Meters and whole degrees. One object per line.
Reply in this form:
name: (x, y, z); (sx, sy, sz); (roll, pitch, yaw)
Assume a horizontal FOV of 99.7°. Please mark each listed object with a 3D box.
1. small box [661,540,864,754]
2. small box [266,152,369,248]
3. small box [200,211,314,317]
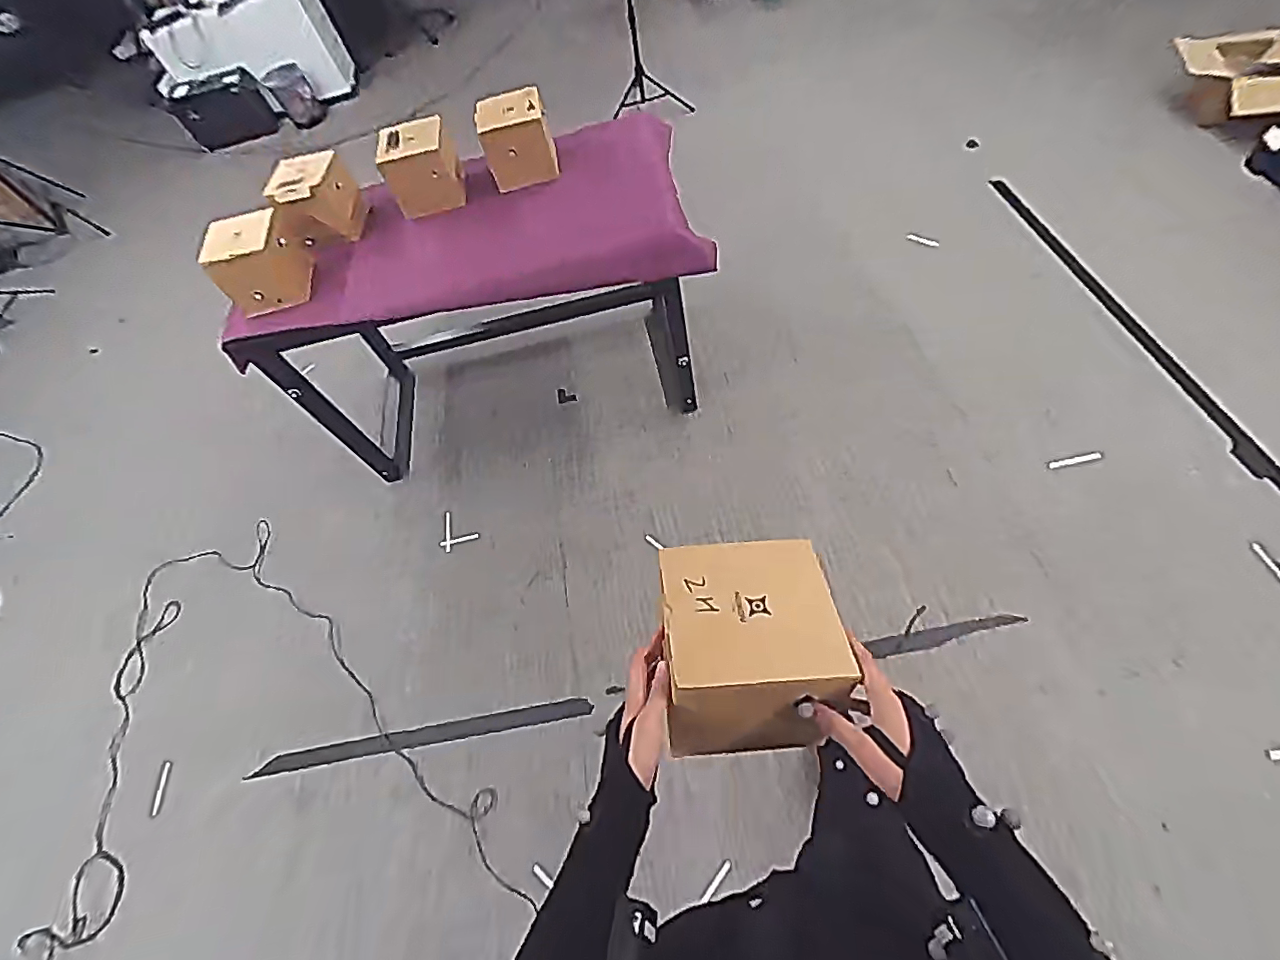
small box: (0.116, 0.185, 0.599); (0.179, 0.176, 0.168); (-3, 43, -1)
small box: (-0.891, -0.775, 1.515); (0.168, 0.176, 0.179); (-7, 59, 6)
small box: (-0.979, -0.556, 1.401); (0.168, 0.176, 0.179); (-15, 59, 0)
